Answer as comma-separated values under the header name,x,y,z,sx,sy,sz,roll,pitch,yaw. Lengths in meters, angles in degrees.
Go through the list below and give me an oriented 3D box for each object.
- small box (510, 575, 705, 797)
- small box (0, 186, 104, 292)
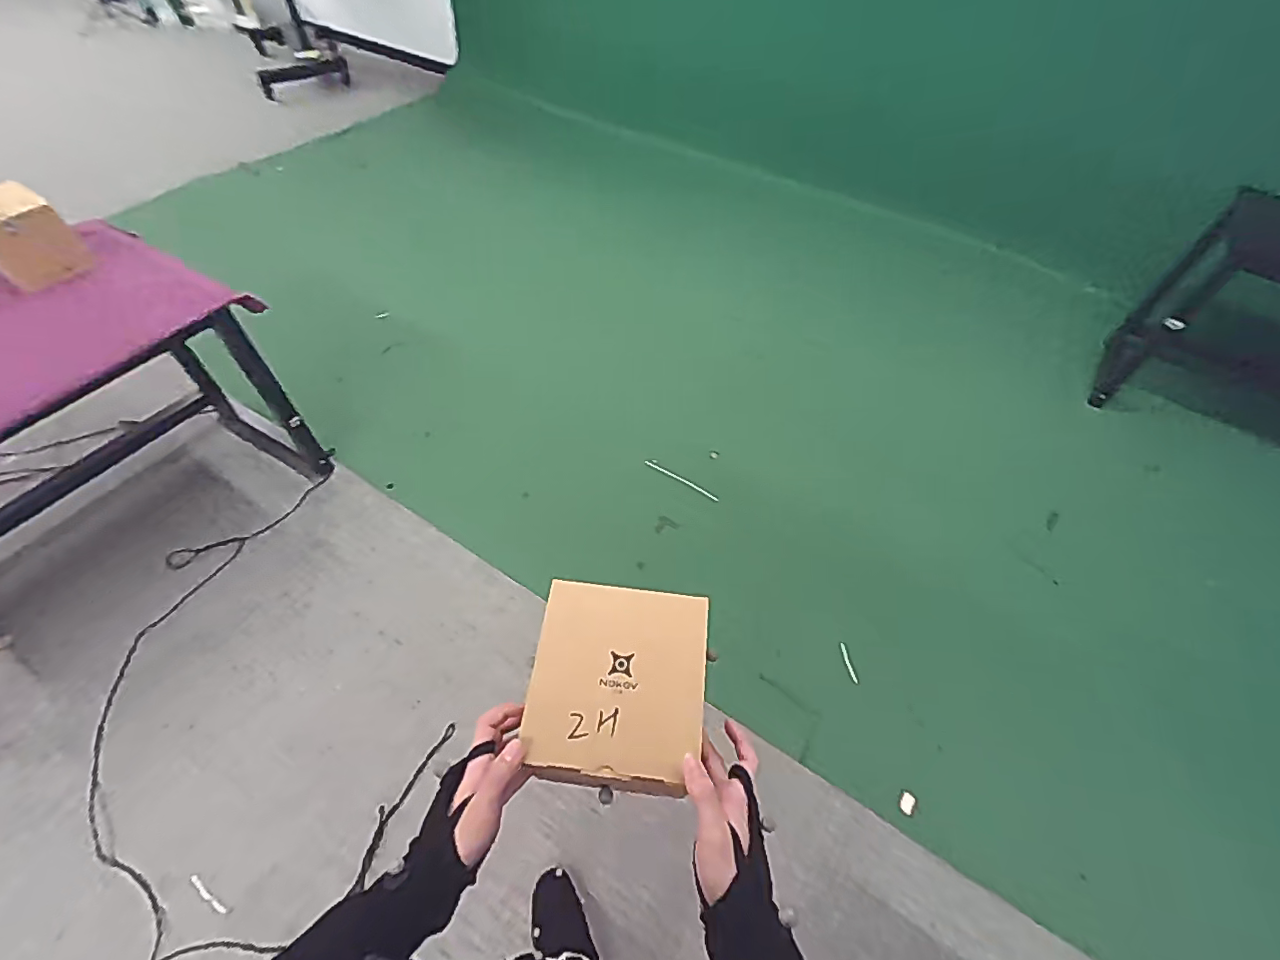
name,x,y,z,sx,sy,sz,roll,pitch,yaw
small box,-0.027,0.223,0.579,0.168,0.176,0.179,6,56,2
small box,-1.519,-0.597,1.346,0.179,0.176,0.168,30,57,18
